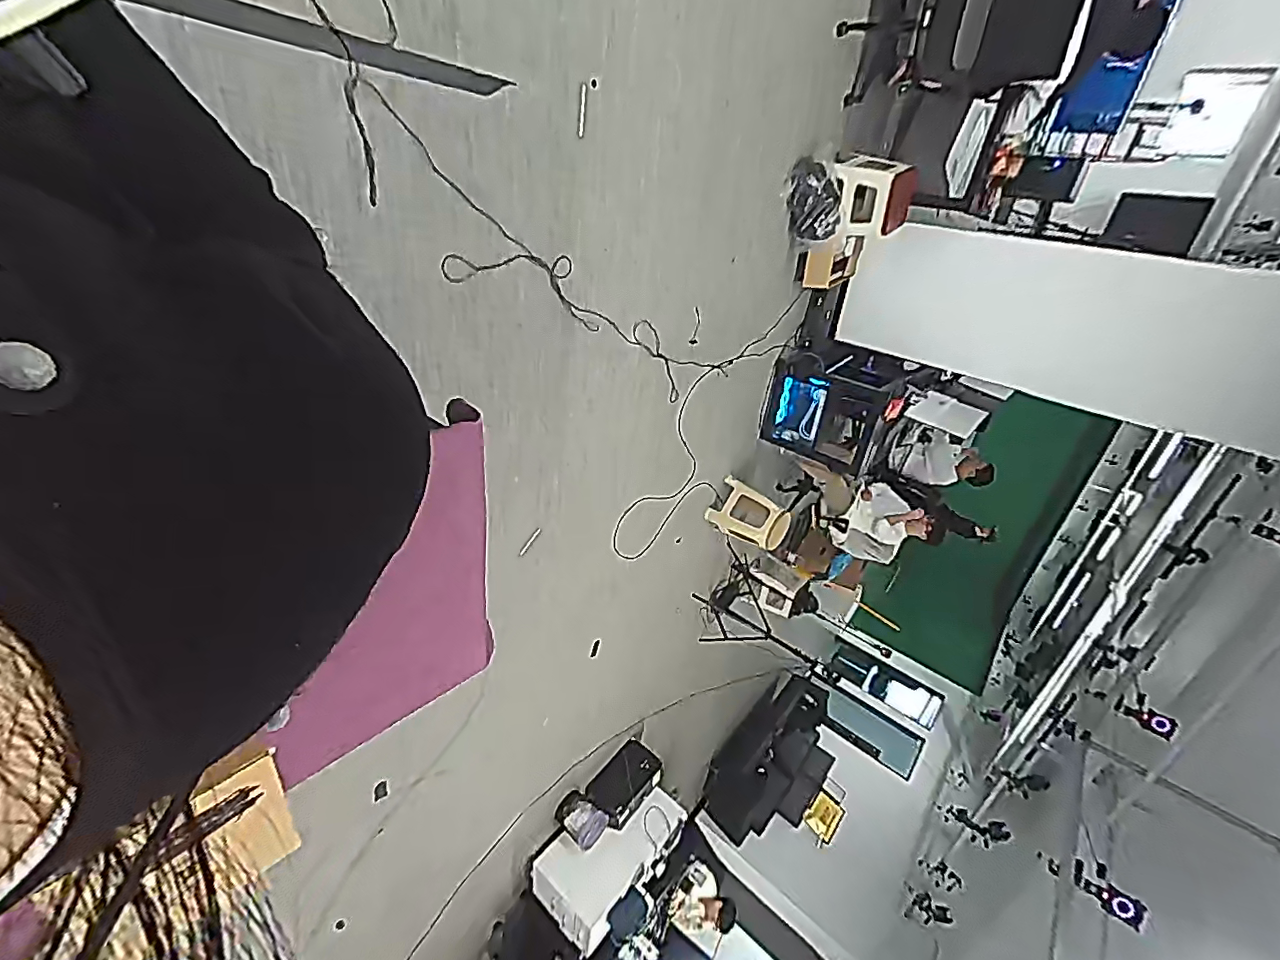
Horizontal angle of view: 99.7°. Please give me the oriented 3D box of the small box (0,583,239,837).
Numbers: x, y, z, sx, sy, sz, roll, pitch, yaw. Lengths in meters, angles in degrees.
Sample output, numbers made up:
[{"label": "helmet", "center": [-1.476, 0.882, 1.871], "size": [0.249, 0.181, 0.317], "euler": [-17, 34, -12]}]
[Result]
[{"label": "small box", "center": [-0.611, 0.255, 0.637], "size": [0.168, 0.176, 0.179], "euler": [-23, 132, -47]}]
